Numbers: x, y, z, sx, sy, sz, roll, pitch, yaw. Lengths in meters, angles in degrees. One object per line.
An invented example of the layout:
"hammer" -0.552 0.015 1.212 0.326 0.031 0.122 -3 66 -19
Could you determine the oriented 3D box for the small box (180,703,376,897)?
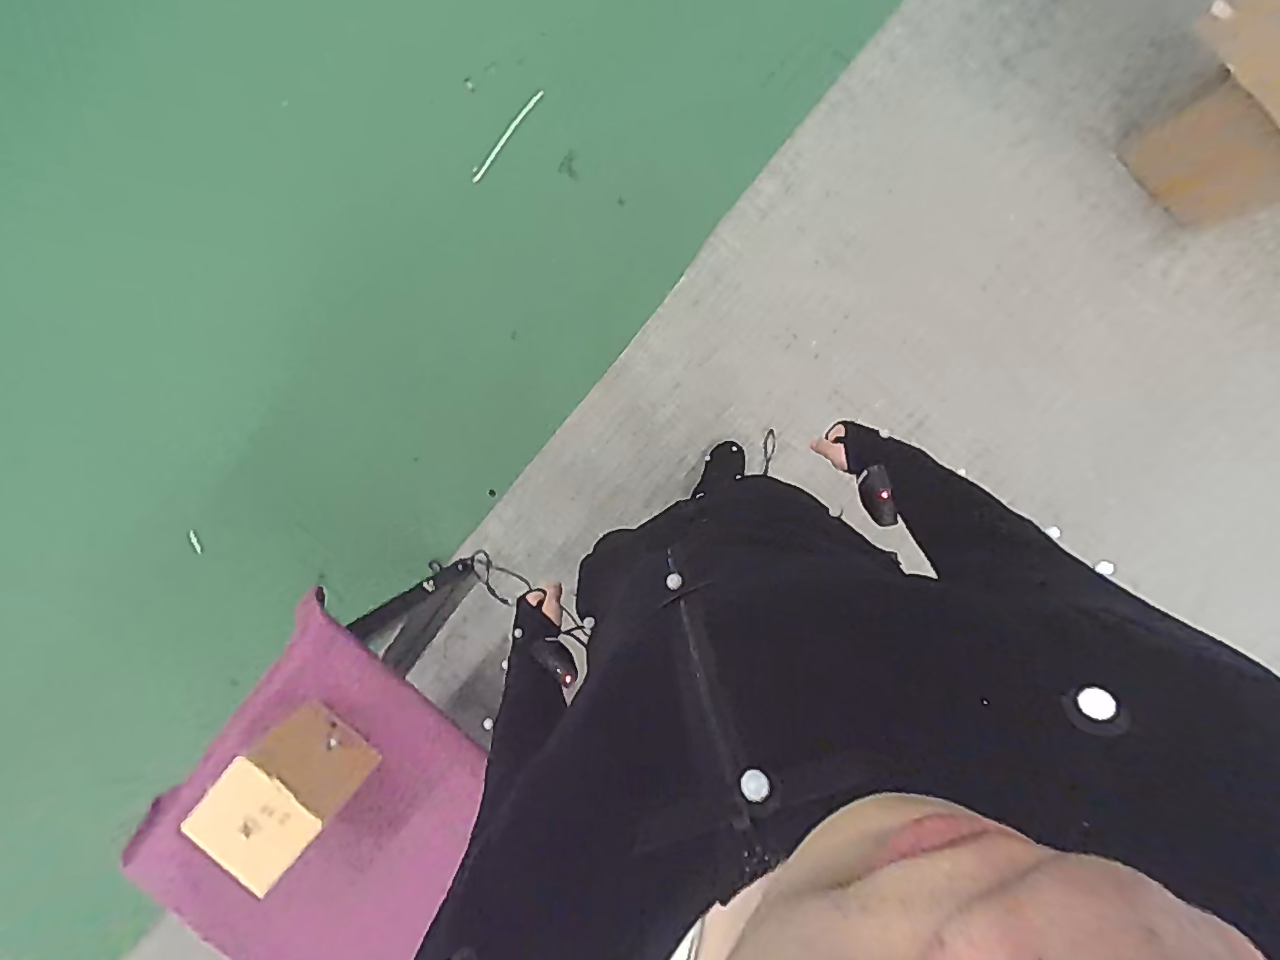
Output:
"small box" -0.582 0.516 0.895 0.168 0.176 0.179 41 97 -1
